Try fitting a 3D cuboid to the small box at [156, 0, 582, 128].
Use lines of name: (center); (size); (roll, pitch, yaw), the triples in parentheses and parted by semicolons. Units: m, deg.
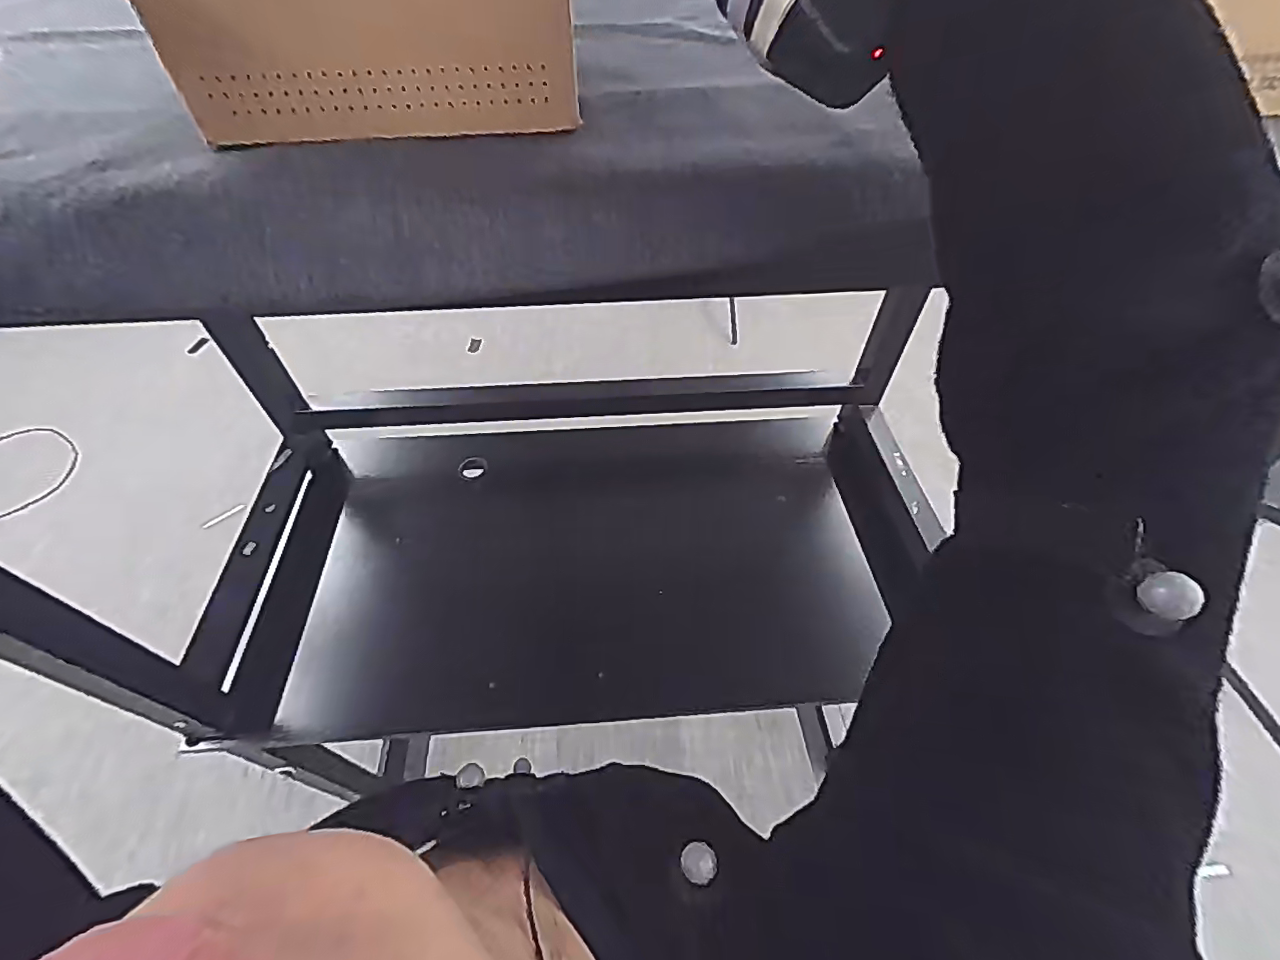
small box: (-0.124, -0.281, 0.250); (0.179, 0.176, 0.168); (-5, 50, -5)
